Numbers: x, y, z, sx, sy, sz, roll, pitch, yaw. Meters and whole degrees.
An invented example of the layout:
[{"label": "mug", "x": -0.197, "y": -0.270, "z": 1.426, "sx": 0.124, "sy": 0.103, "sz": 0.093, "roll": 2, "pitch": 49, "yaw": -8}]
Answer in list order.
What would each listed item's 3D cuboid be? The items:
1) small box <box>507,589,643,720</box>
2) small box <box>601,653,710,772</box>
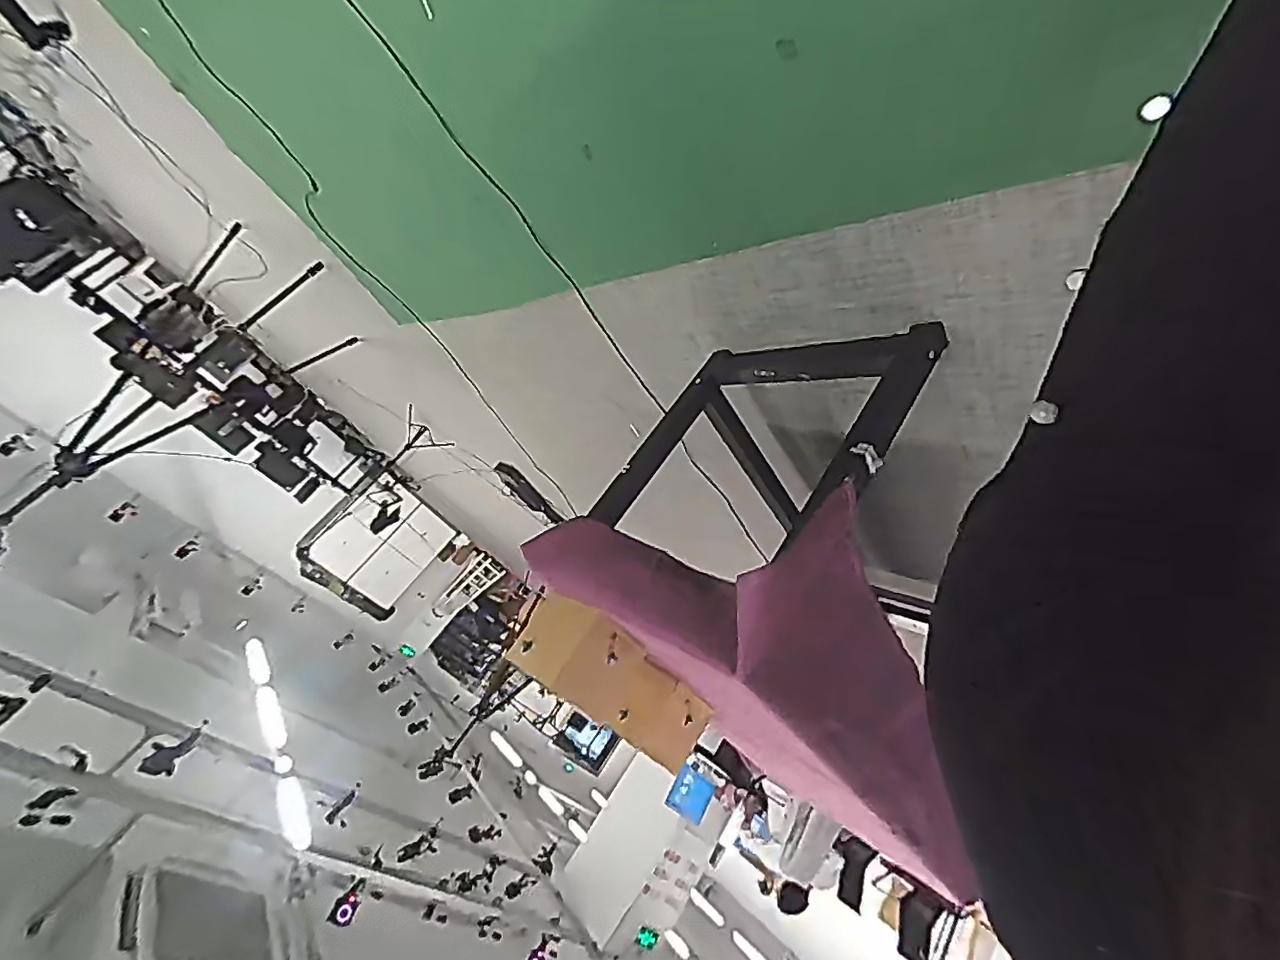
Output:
[{"label": "small box", "x": -0.127, "y": 0.342, "z": 1.092, "sx": 0.179, "sy": 0.176, "sz": 0.168, "roll": 8, "pitch": 146, "yaw": 48}, {"label": "small box", "x": 0.028, "y": 0.527, "z": 1.251, "sx": 0.179, "sy": 0.176, "sz": 0.168, "roll": 8, "pitch": 145, "yaw": 51}]
